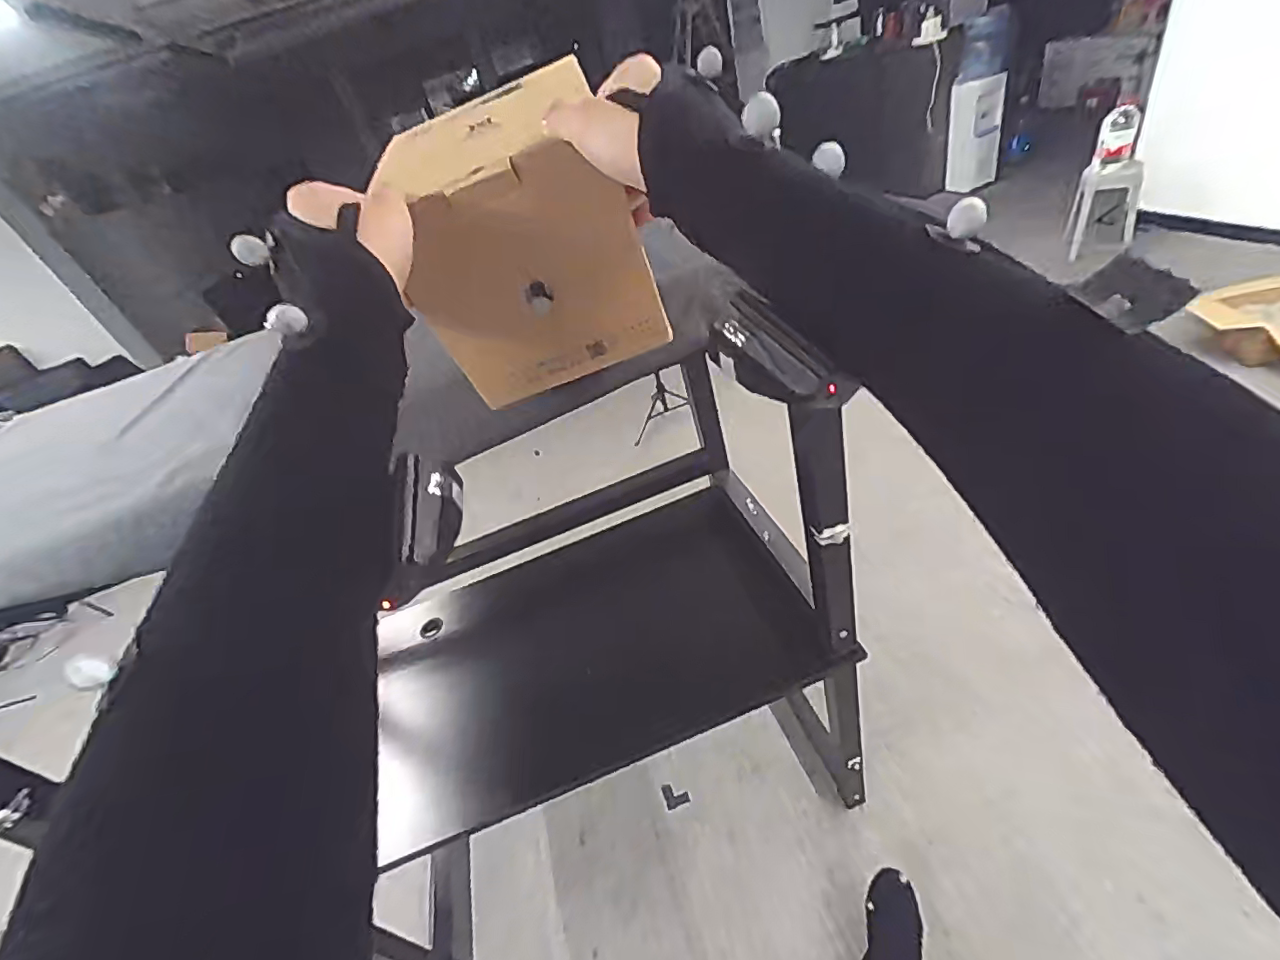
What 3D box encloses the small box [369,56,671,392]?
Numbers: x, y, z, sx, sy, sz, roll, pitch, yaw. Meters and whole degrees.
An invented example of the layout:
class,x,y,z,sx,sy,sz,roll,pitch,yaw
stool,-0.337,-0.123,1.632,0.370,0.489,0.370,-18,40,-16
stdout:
class,x,y,z,sx,sy,sz,roll,pitch,yaw
small box,-0.085,-0.194,0.441,0.168,0.176,0.179,-19,50,7
